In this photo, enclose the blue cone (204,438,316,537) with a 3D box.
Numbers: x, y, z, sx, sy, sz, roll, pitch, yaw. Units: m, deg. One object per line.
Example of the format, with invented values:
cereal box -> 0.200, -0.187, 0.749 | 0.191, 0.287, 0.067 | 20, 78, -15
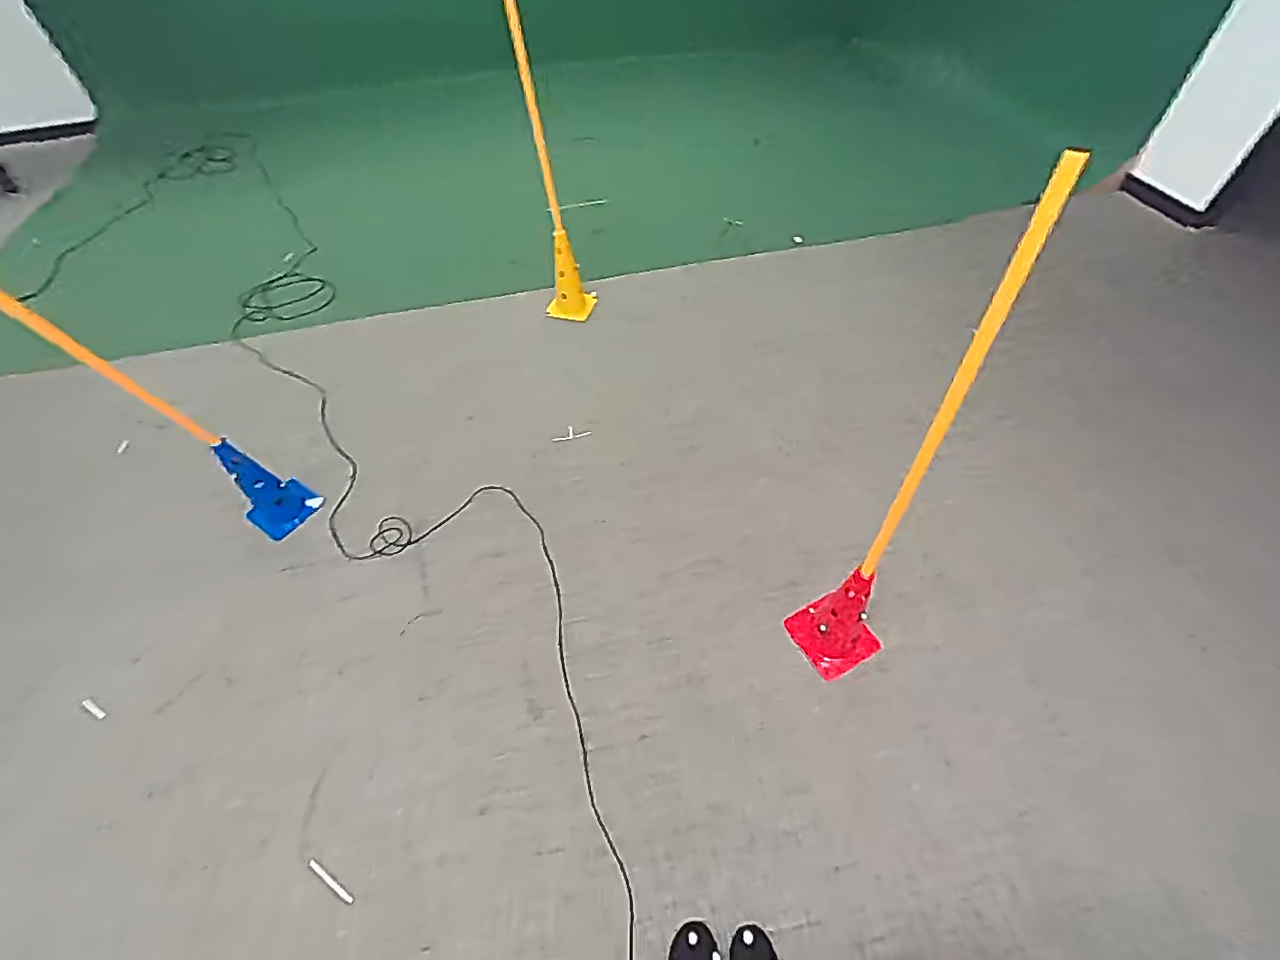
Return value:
blue cone -> -1.232, 0.002, 1.714 | 0.192, 0.380, 0.193 | 26, 60, 20
